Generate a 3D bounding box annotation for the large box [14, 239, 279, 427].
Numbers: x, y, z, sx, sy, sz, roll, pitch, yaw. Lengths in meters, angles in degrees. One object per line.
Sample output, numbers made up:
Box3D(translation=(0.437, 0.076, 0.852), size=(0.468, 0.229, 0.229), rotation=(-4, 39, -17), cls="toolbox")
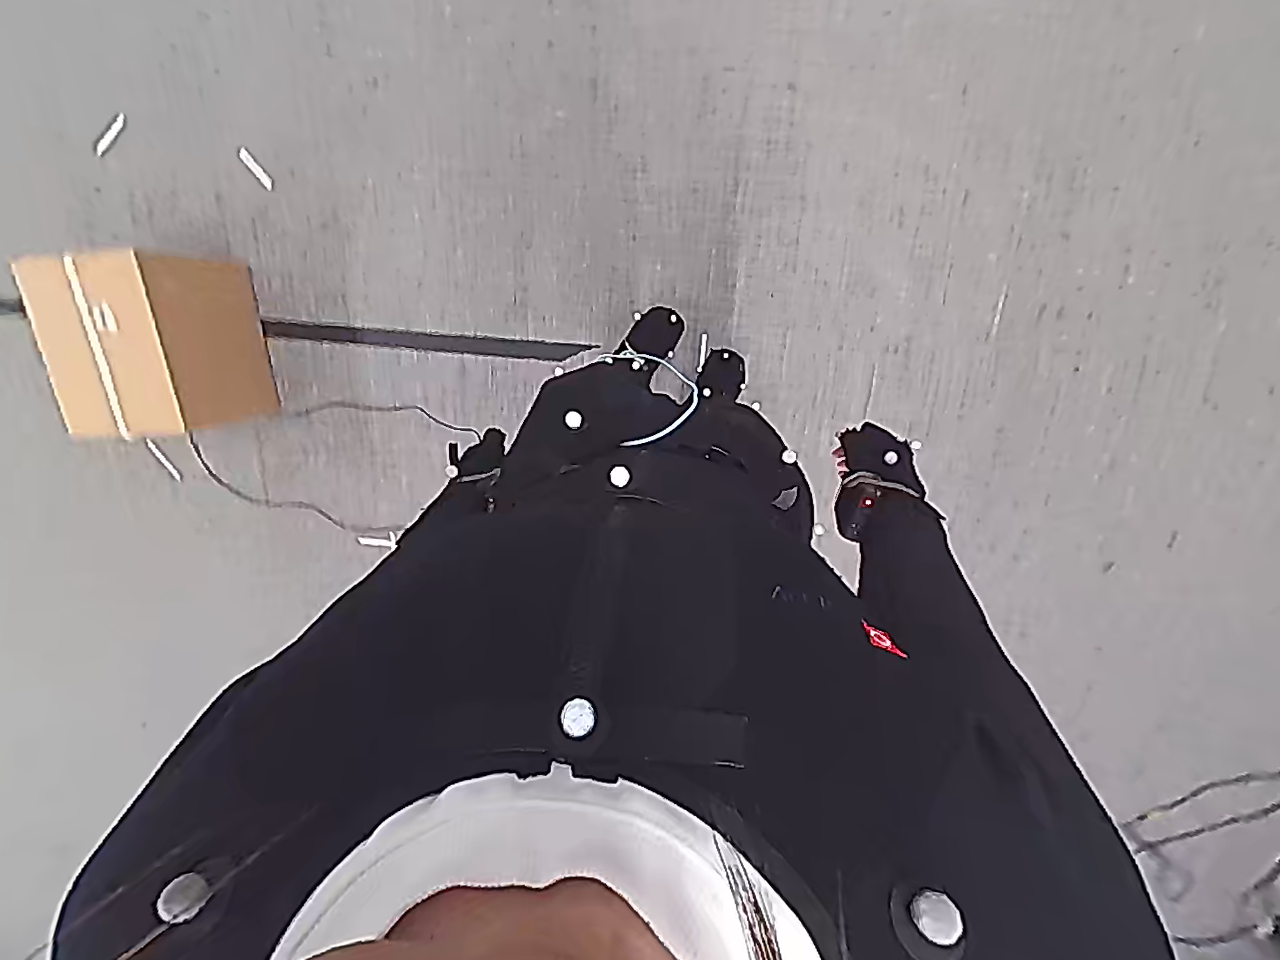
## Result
Box3D(translation=(-1.197, -0.358, 1.361), size=(0.320, 0.320, 0.408), rotation=(-1, 106, 6), cls="large box")
